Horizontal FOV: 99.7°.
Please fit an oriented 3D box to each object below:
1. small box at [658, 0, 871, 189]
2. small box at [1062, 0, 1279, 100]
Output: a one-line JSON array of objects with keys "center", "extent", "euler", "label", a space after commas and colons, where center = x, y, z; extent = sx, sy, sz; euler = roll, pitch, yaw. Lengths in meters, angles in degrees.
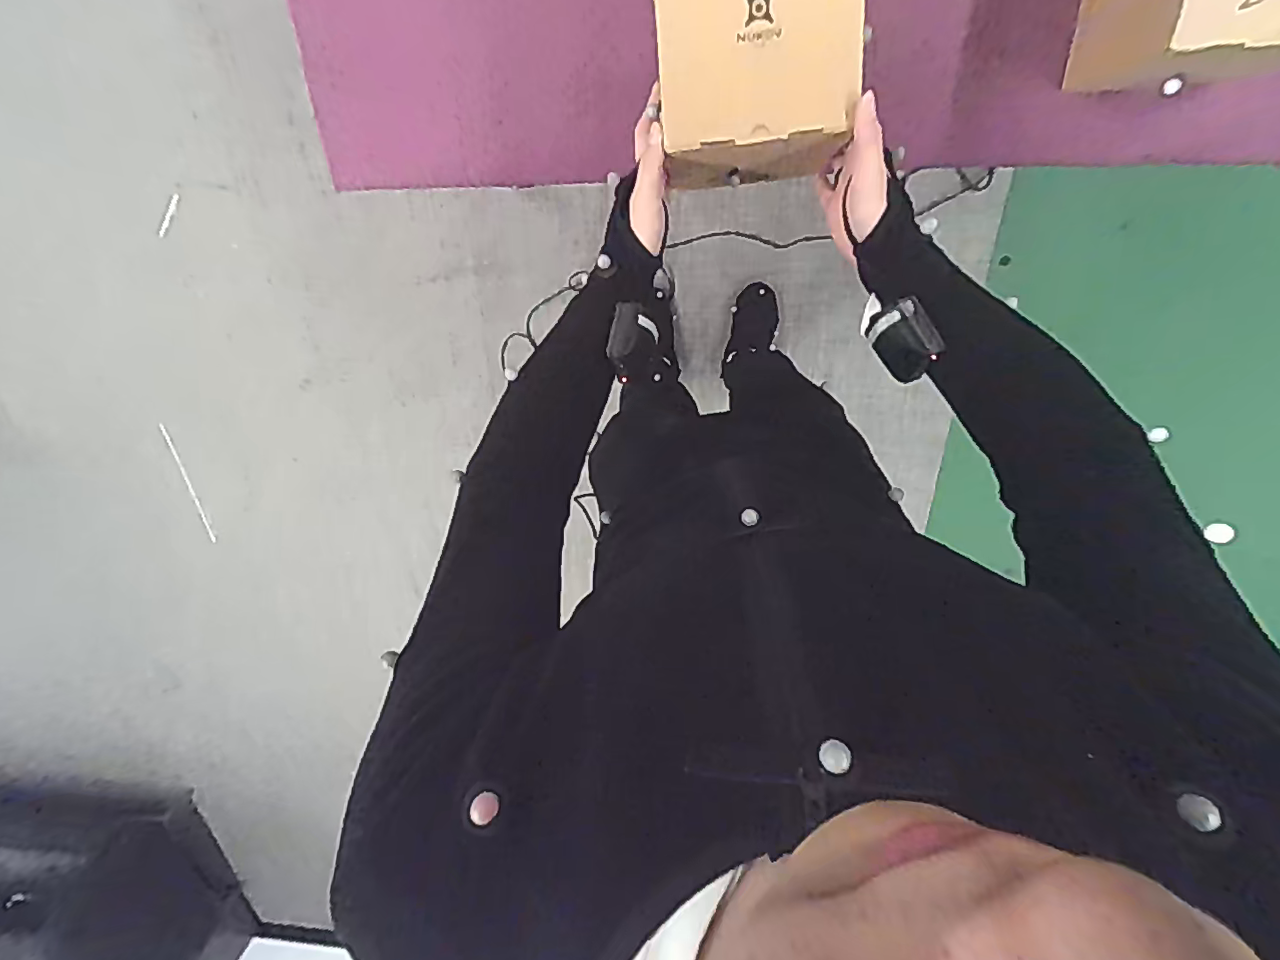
[{"center": [0.103, -0.390, 0.505], "extent": [0.168, 0.176, 0.179], "euler": [-4, 110, 5], "label": "small box"}, {"center": [0.546, -0.480, 0.506], "extent": [0.168, 0.176, 0.179], "euler": [1, 117, 7], "label": "small box"}]
